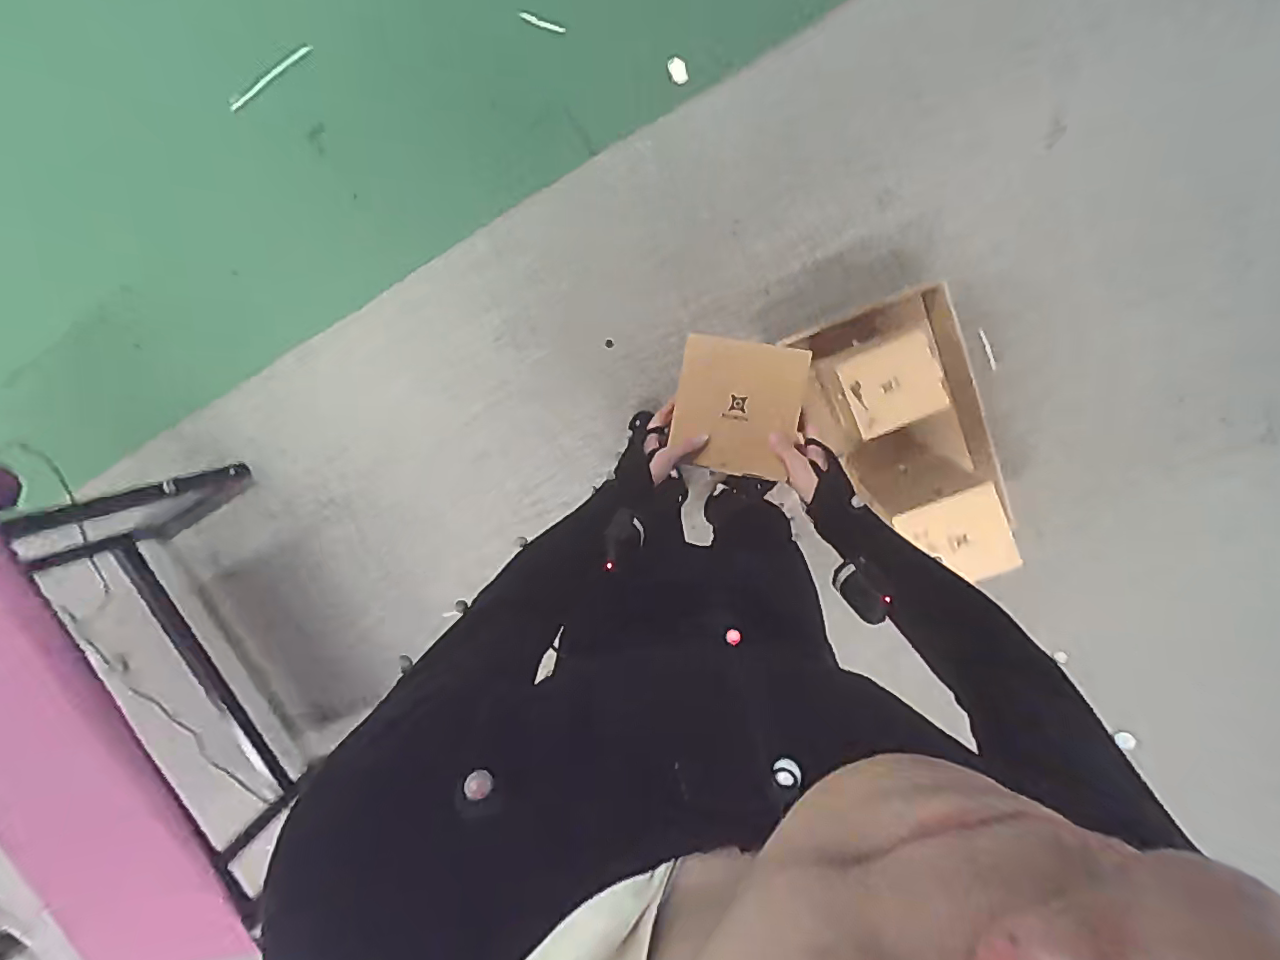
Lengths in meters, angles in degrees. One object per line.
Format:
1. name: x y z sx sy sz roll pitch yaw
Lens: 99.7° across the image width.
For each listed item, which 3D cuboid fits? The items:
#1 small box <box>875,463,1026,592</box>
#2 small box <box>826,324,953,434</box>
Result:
1. small box: 0.571 0.081 1.018 0.179 0.176 0.168 -22 97 15
2. small box: 0.512 -0.212 1.131 0.179 0.176 0.168 -21 97 14
